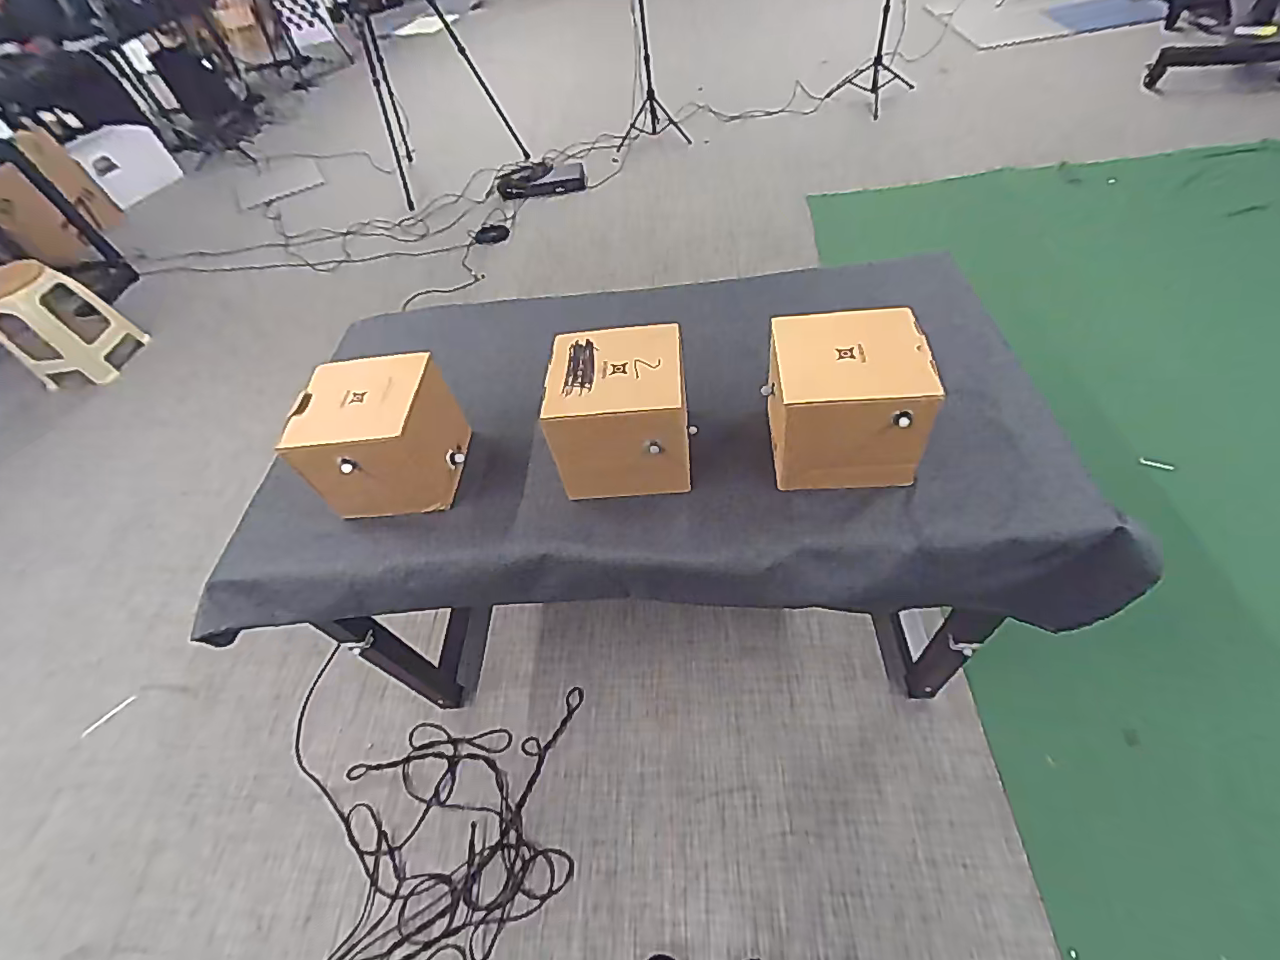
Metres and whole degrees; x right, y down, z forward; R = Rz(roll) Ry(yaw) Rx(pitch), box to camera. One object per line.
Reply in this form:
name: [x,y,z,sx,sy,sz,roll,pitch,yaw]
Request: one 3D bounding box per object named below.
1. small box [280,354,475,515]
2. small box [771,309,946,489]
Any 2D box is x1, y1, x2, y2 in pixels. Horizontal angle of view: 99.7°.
small box: [-0.369,-0.061,0.797,0.179,0.176,0.168,-4,53,5]
small box: [0.267,-0.100,0.712,0.179,0.176,0.168,-2,51,8]
